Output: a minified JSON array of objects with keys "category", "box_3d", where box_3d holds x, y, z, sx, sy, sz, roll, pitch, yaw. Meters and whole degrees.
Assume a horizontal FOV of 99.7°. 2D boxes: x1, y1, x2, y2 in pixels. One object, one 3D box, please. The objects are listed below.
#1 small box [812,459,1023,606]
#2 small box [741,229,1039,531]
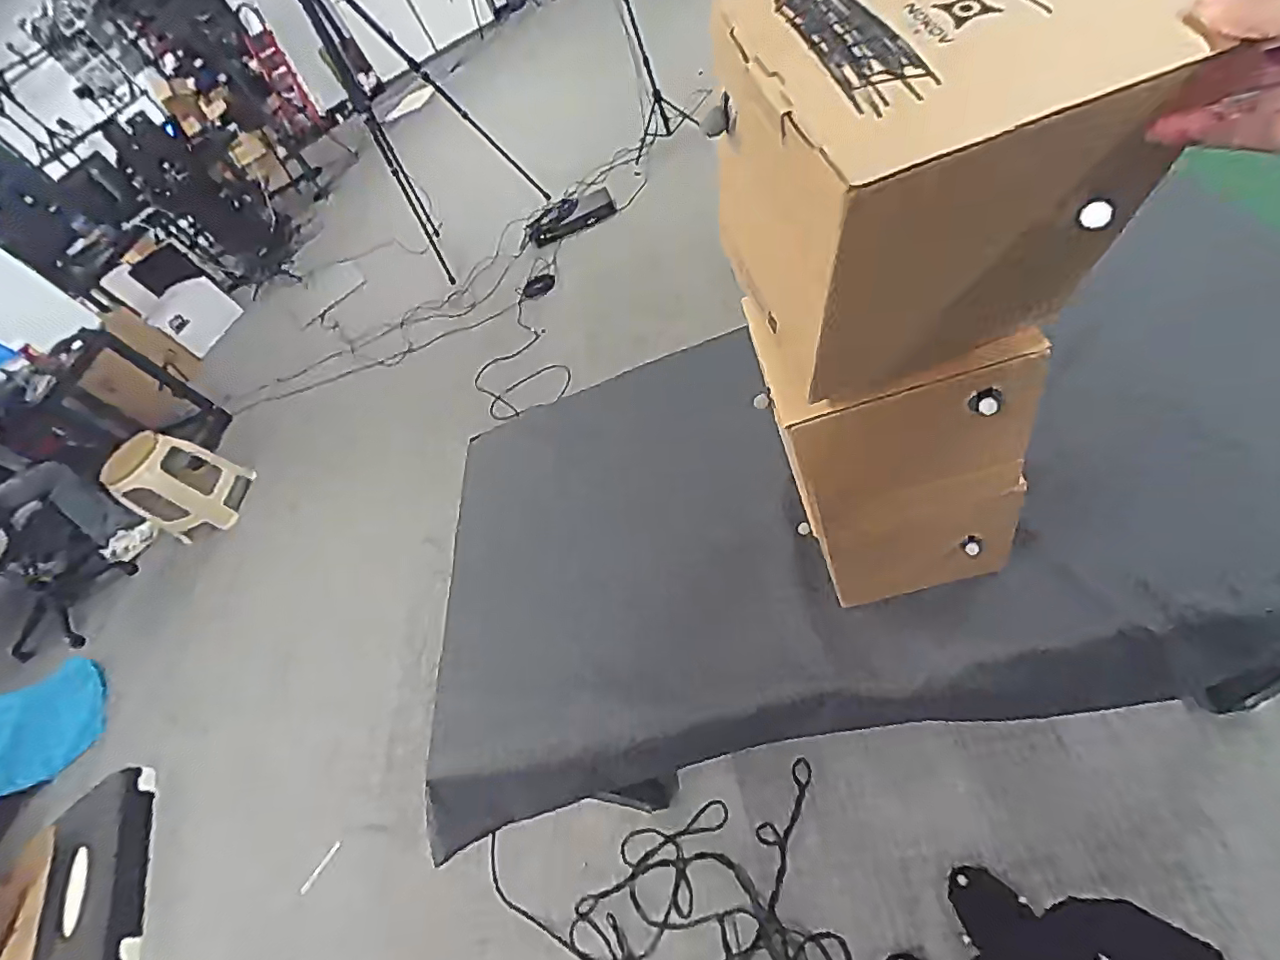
[{"category":"small box","box_3d":[0.274,0.015,0.592,0.179,0.176,0.168,-20,48,14]},{"category":"small box","box_3d":[0.205,-0.076,0.477,0.179,0.176,0.168,-17,49,14]}]
